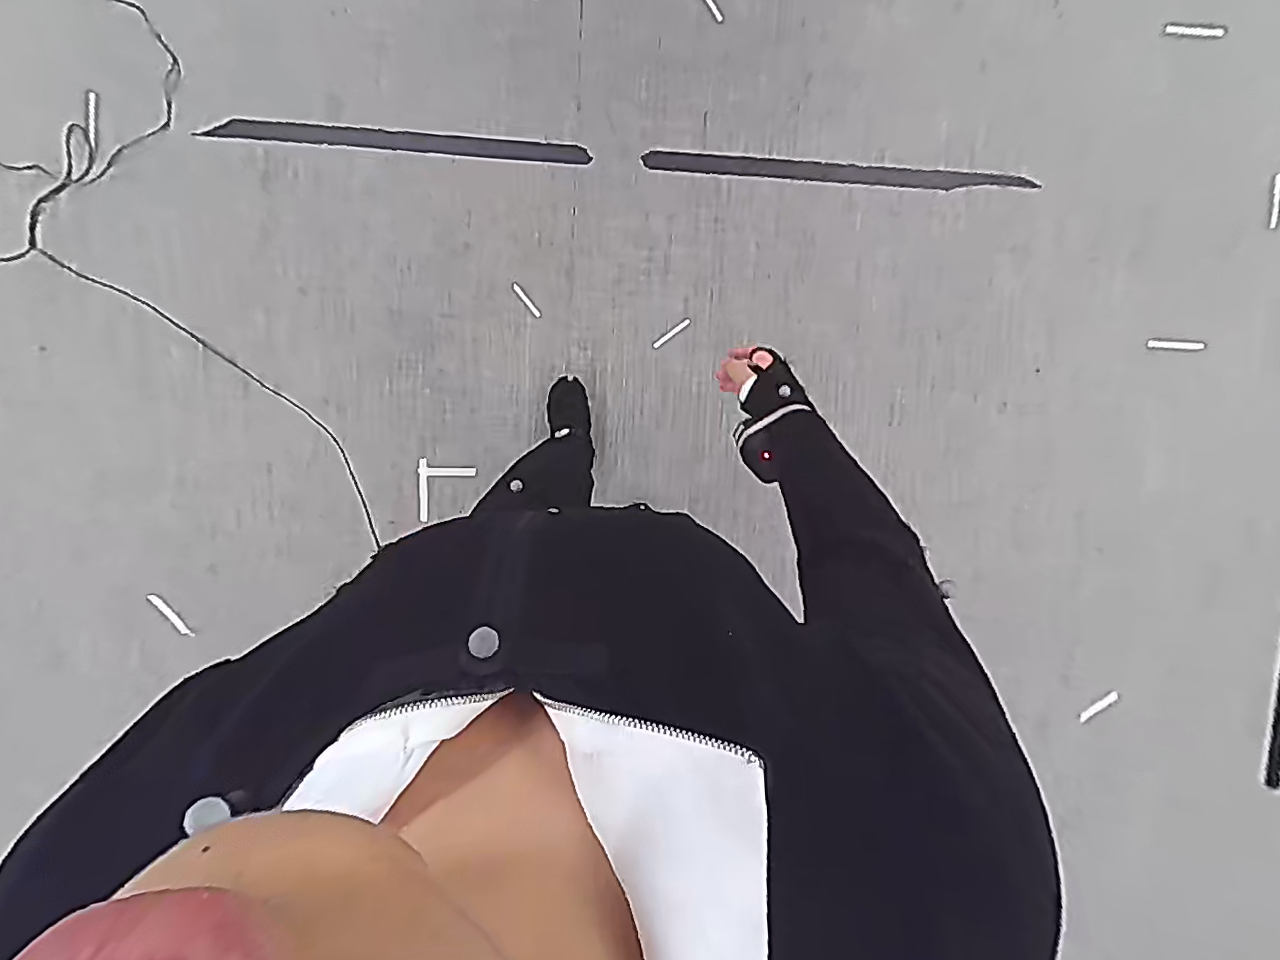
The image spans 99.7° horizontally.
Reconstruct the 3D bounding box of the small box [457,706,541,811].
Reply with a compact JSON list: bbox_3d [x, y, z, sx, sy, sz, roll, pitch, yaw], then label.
[{"bbox_3d":[-0.343,0.682,1.342,0.168,0.176,0.179,2,94,0],"label":"small box"}]
